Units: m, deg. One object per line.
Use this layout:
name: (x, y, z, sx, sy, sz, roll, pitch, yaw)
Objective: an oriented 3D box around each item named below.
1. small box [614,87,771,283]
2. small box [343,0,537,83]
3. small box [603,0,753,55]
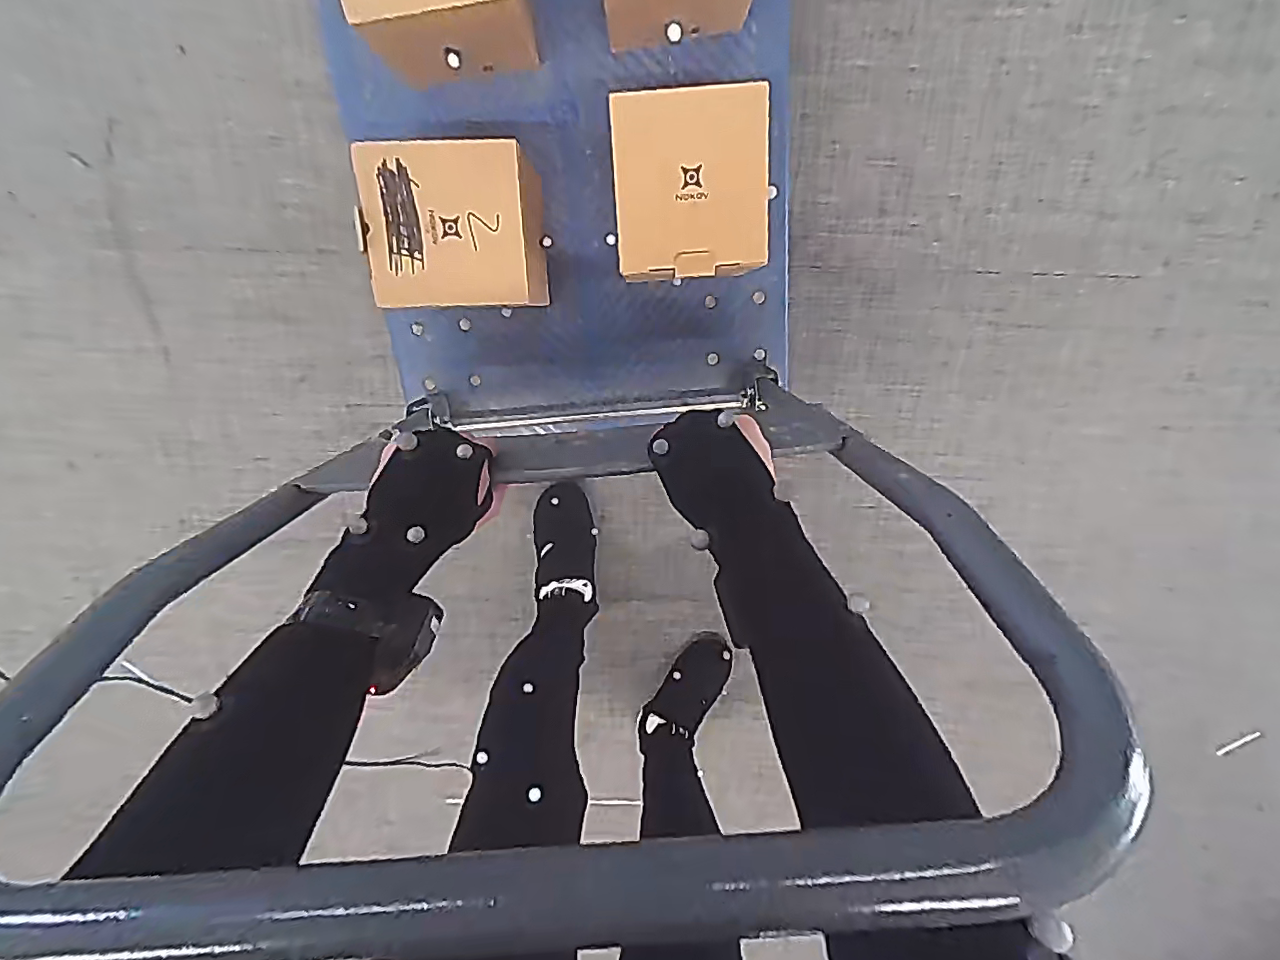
small box: (0.056, -0.338, 0.652, 0.168, 0.176, 0.179, -4, 108, 1)
small box: (-0.216, -0.557, 0.578, 0.168, 0.176, 0.179, -8, 108, 1)
small box: (0.034, -0.594, 0.567, 0.168, 0.176, 0.179, -8, 109, 3)
